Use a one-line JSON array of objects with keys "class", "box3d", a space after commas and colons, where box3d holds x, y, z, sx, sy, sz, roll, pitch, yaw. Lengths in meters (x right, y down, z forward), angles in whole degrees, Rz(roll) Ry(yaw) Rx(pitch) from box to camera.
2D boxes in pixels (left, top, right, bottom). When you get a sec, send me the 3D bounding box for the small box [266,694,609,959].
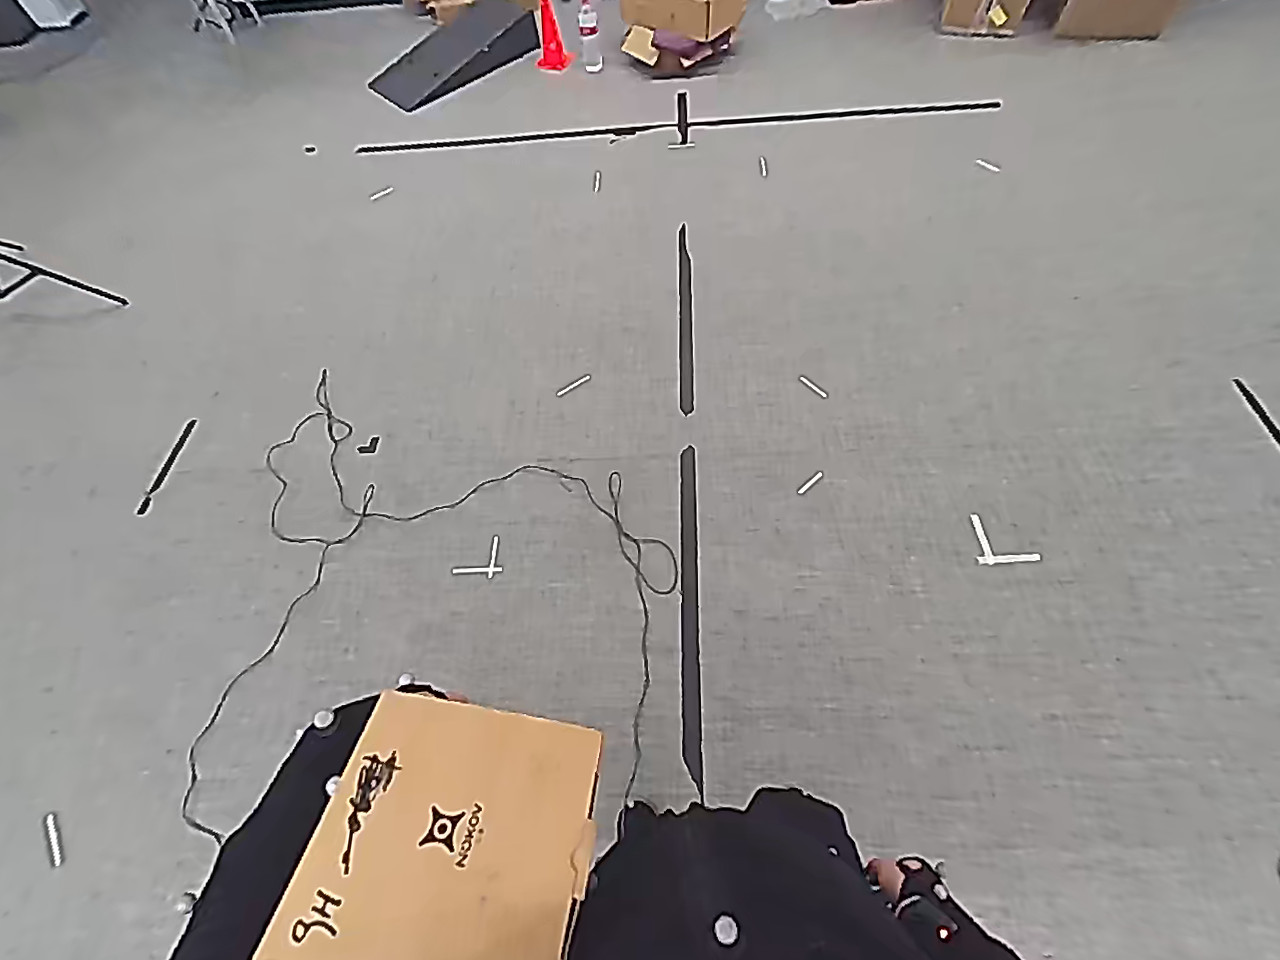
[{"class": "small box", "box3d": [-0.132, 0.295, 0.421, 0.179, 0.176, 0.168, 11, 44, -1]}]
